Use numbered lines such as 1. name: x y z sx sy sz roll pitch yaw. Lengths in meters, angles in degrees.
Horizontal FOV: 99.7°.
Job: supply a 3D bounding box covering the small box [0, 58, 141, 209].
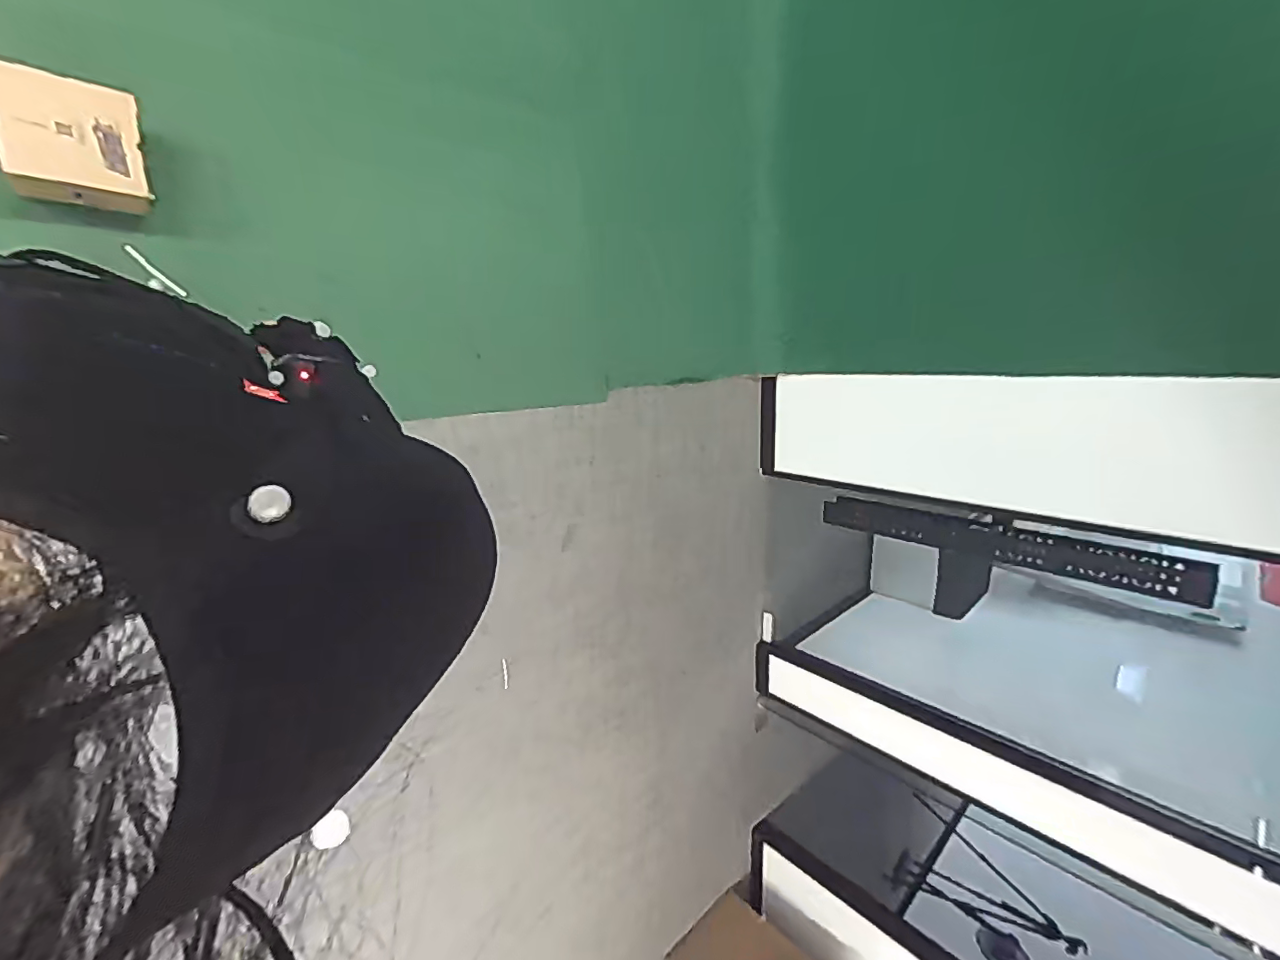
1. small box: -1.000 -0.587 0.940 0.179 0.176 0.168 -8 104 -42
